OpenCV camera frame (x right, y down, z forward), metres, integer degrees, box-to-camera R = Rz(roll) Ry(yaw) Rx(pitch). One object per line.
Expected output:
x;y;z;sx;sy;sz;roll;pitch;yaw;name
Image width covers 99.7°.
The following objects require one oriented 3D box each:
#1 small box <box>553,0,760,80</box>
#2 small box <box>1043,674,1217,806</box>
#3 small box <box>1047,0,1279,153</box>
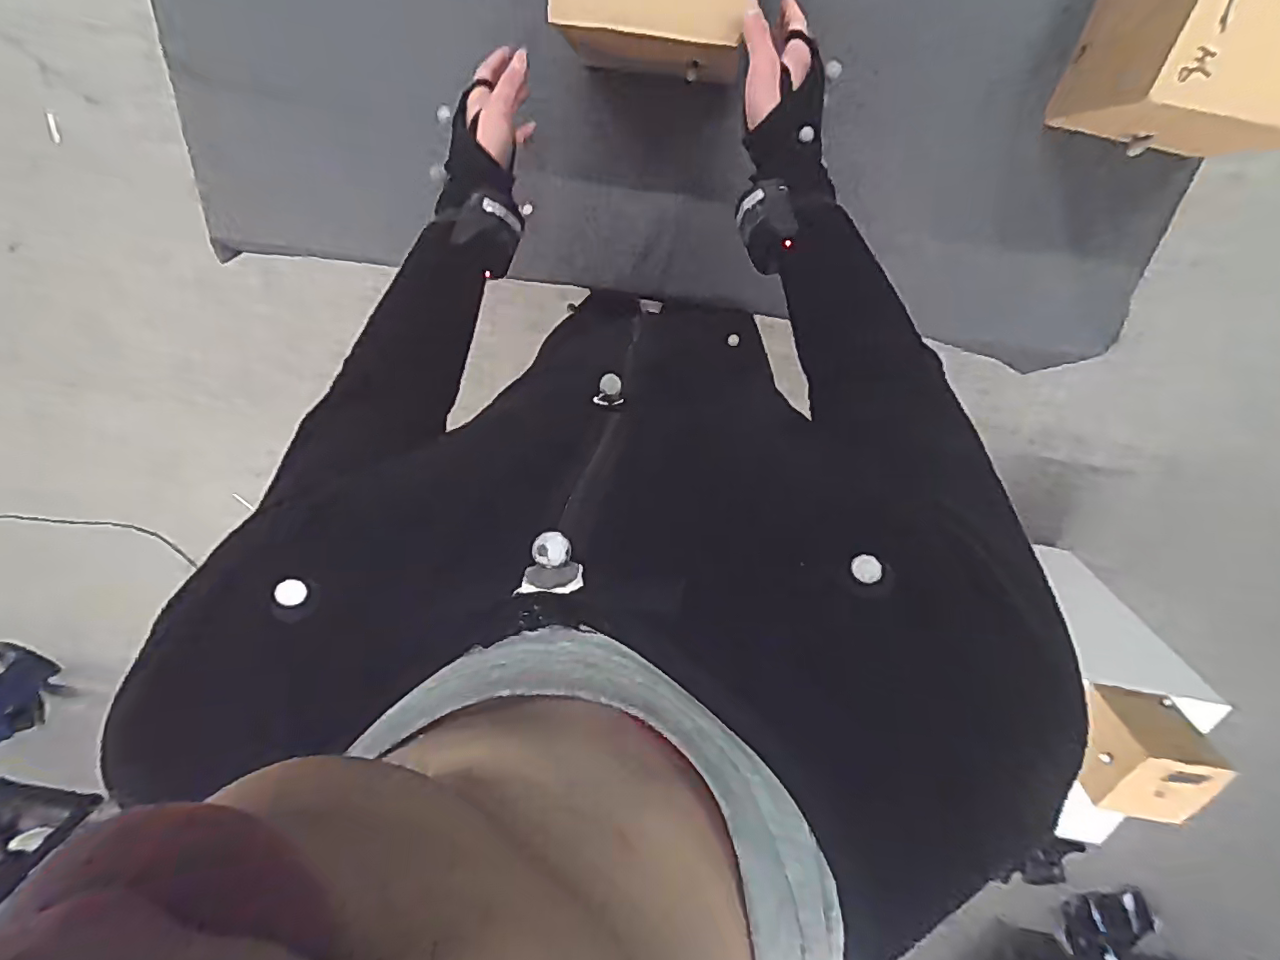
0.026;-0.491;0.499;0.179;0.176;0.168;9;118;2;small box
0.982;0.527;1.108;0.168;0.176;0.179;10;121;0;small box
0.538;-0.409;0.492;0.179;0.176;0.168;12;119;-2;small box
